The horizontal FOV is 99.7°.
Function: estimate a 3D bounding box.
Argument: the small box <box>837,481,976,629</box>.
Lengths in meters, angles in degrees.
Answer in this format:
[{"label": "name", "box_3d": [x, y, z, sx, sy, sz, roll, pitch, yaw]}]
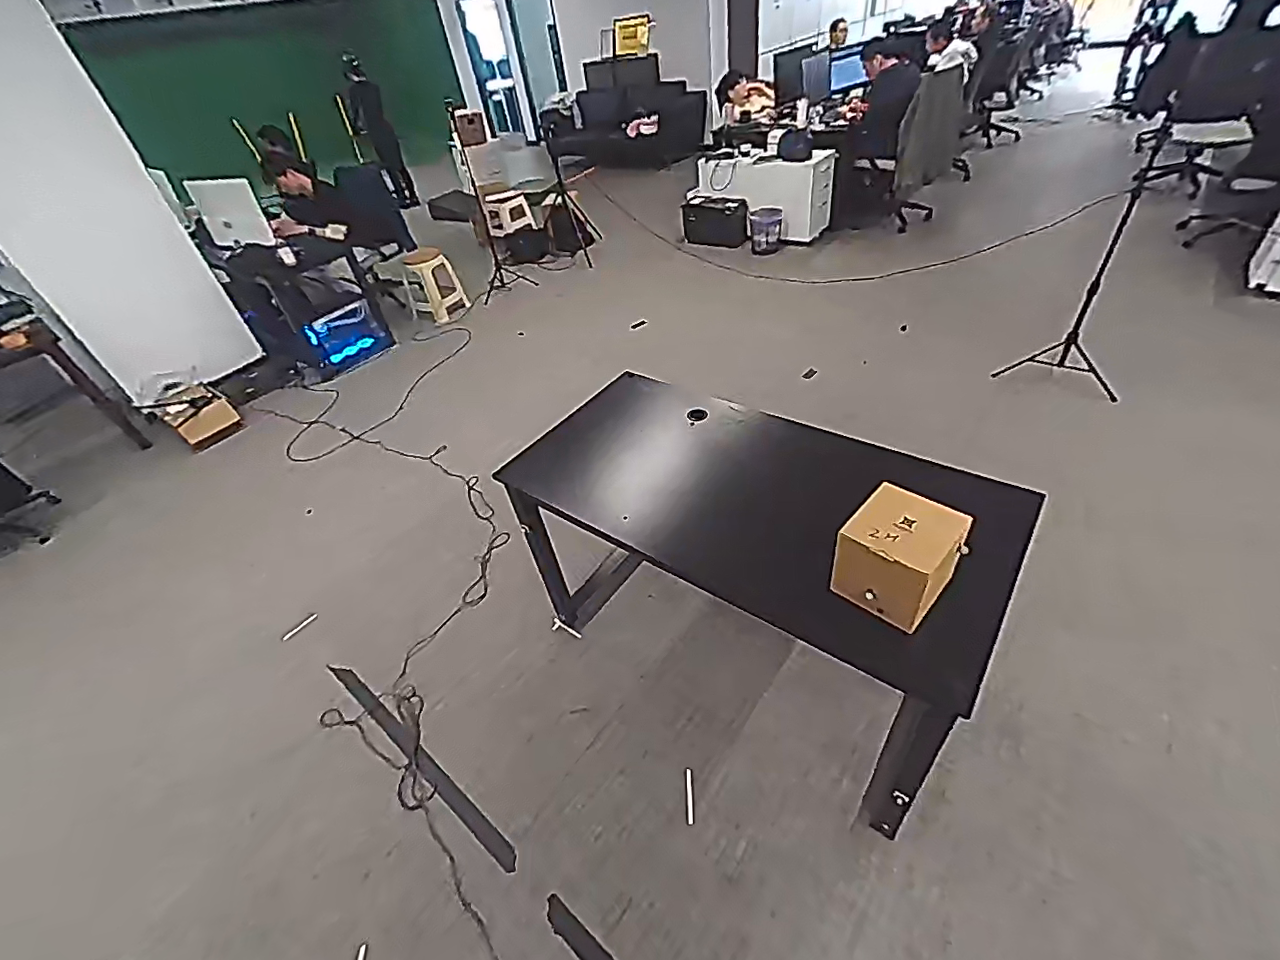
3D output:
[{"label": "small box", "box_3d": [0.488, 0.138, 1.013, 0.179, 0.176, 0.168, -37, 47, -28]}]
